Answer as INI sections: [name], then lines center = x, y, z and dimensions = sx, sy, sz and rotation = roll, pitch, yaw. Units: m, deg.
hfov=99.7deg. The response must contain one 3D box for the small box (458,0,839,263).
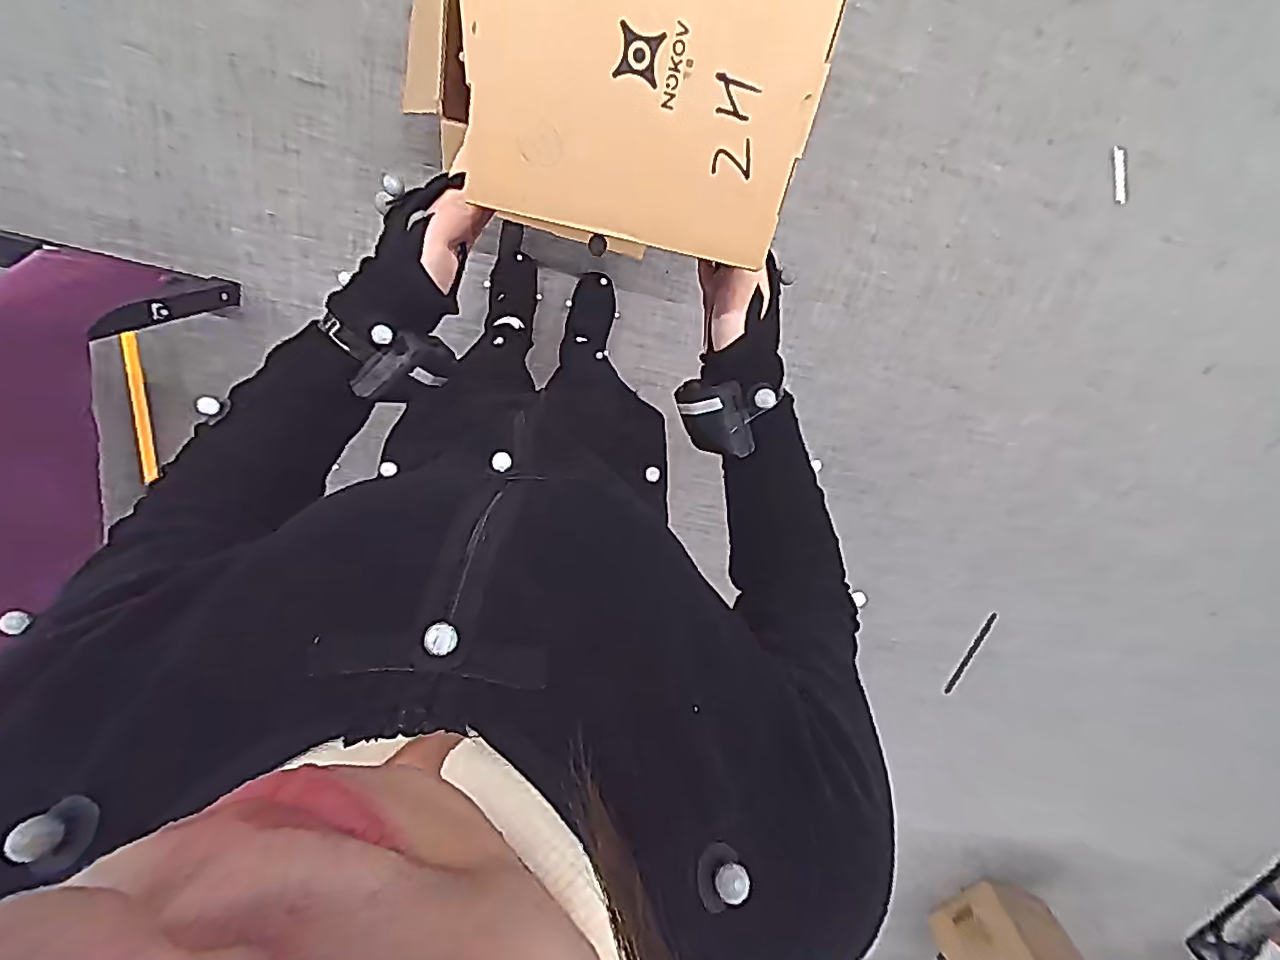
[small box]
center = -0.002, -0.250, 0.338
dimensions = 0.179, 0.176, 0.168
rotation = 9, 118, -11
